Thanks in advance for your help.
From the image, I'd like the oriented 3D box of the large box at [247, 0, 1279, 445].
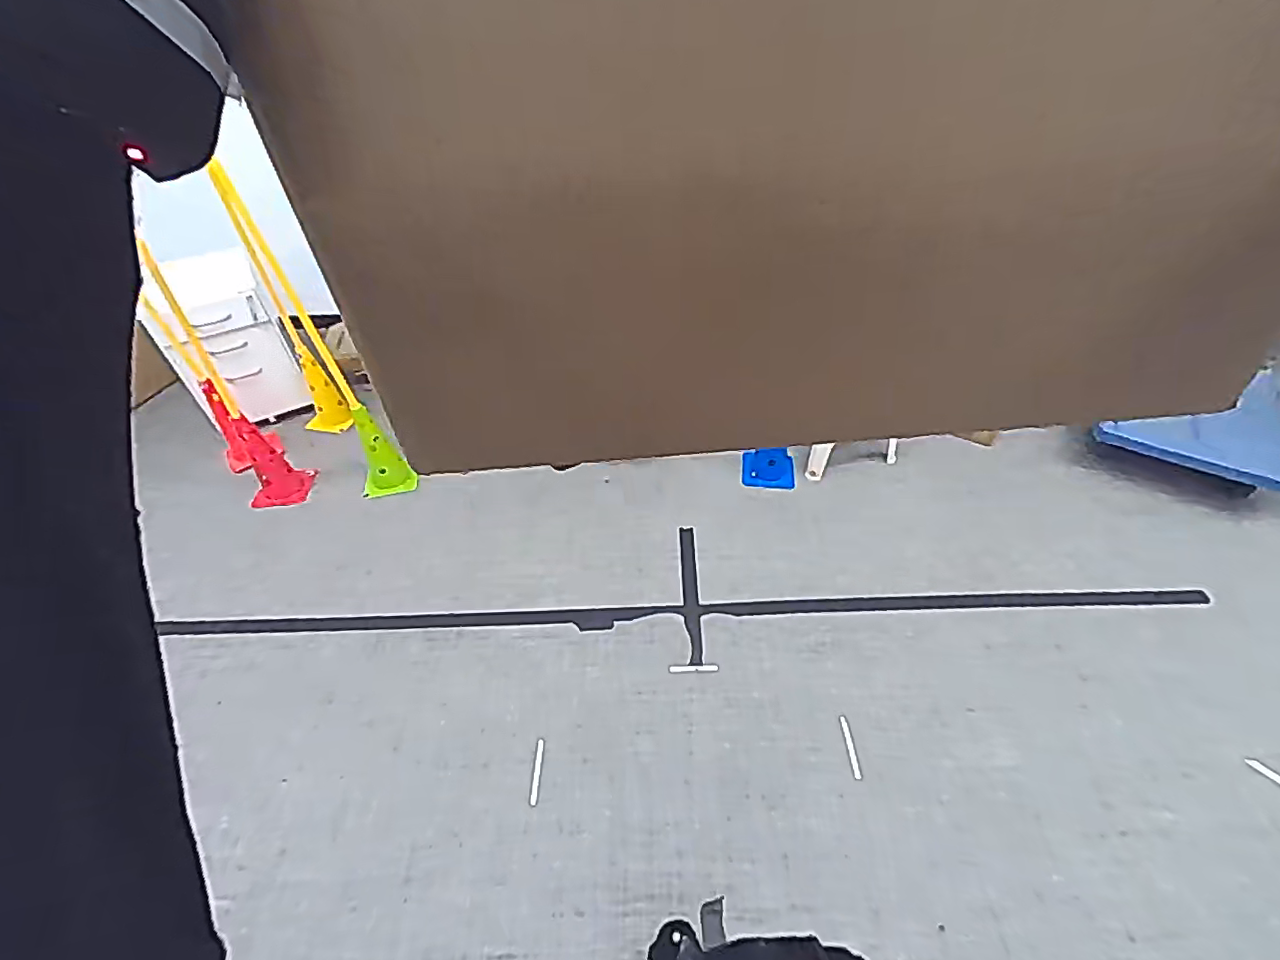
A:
[{"bbox_3d":[0.067,-0.239,0.294,0.408,0.320,0.320,-4,40,0],"label":"large box"}]
